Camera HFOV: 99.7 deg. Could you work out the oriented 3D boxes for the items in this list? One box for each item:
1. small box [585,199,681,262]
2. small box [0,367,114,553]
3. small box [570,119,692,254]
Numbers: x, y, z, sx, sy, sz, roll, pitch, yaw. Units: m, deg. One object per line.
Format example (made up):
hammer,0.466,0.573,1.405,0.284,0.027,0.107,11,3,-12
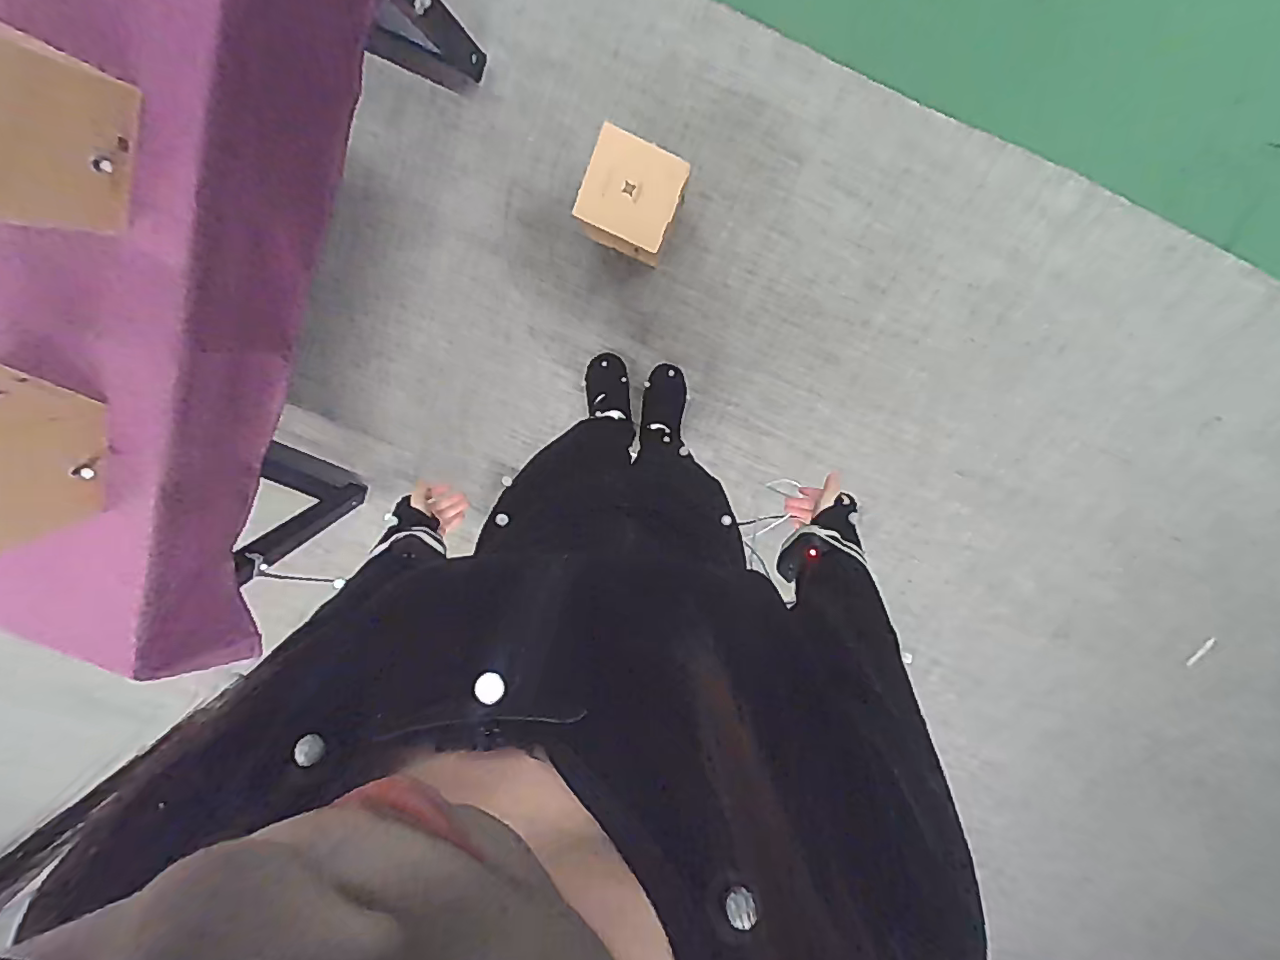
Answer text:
small box,-0.009,-0.605,1.213,0.168,0.176,0.179,21,109,-5
small box,-0.830,-0.031,0.687,0.168,0.176,0.179,22,108,-4
small box,-0.014,-0.559,1.057,0.179,0.176,0.168,24,107,-5
